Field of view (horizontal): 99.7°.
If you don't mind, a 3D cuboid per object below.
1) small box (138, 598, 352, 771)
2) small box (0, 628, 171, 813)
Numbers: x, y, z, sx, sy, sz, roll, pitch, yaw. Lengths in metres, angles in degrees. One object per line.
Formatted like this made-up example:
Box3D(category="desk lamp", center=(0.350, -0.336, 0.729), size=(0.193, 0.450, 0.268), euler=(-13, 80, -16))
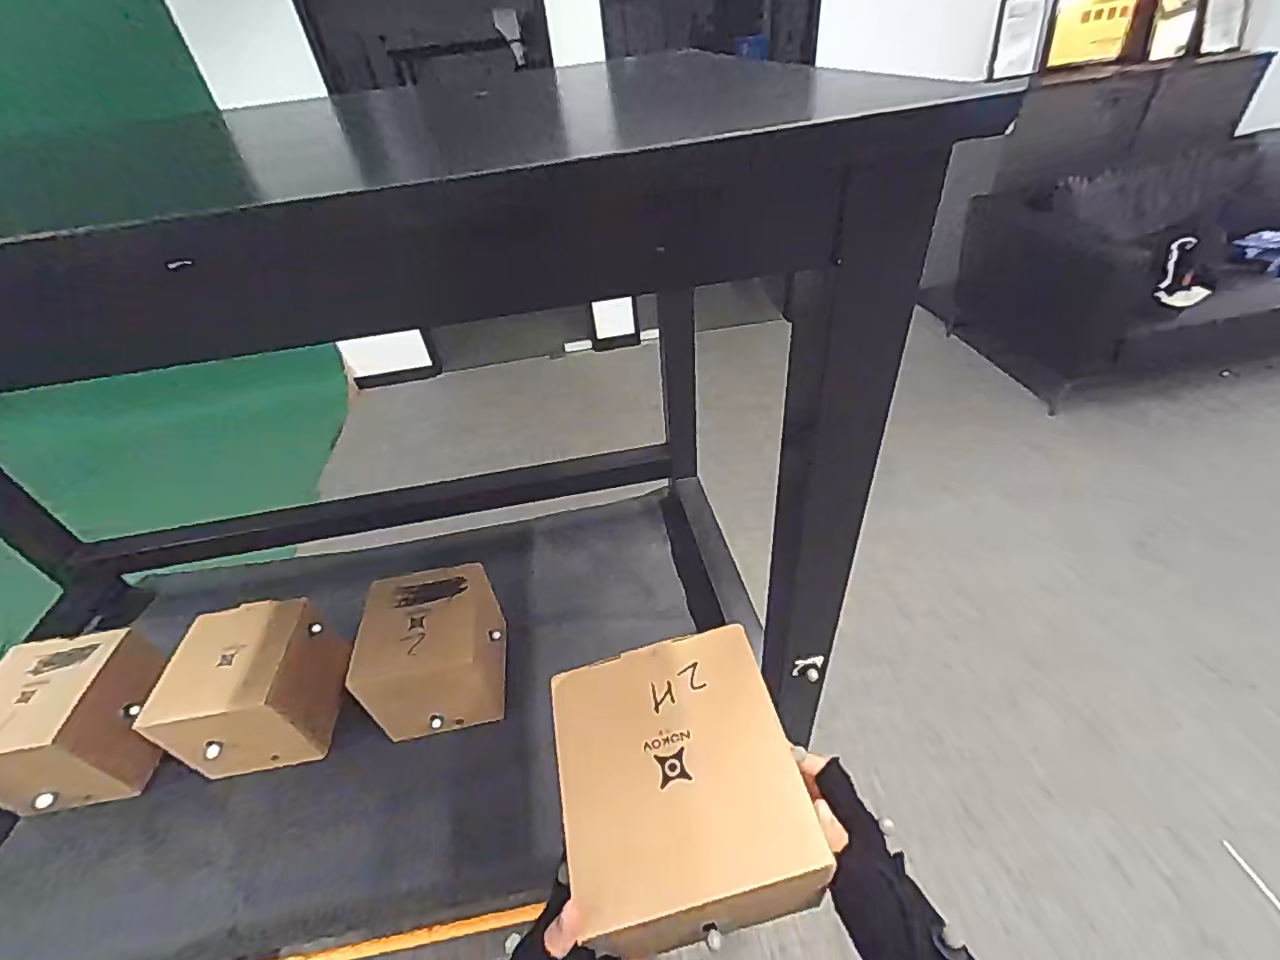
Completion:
Box3D(category="small box", center=(-0.557, 0.305, 0.797), size=(0.168, 0.176, 0.179), euler=(-9, 40, -3))
Box3D(category="small box", center=(-0.806, 0.345, 0.781), size=(0.168, 0.176, 0.179), euler=(-9, 41, -3))
